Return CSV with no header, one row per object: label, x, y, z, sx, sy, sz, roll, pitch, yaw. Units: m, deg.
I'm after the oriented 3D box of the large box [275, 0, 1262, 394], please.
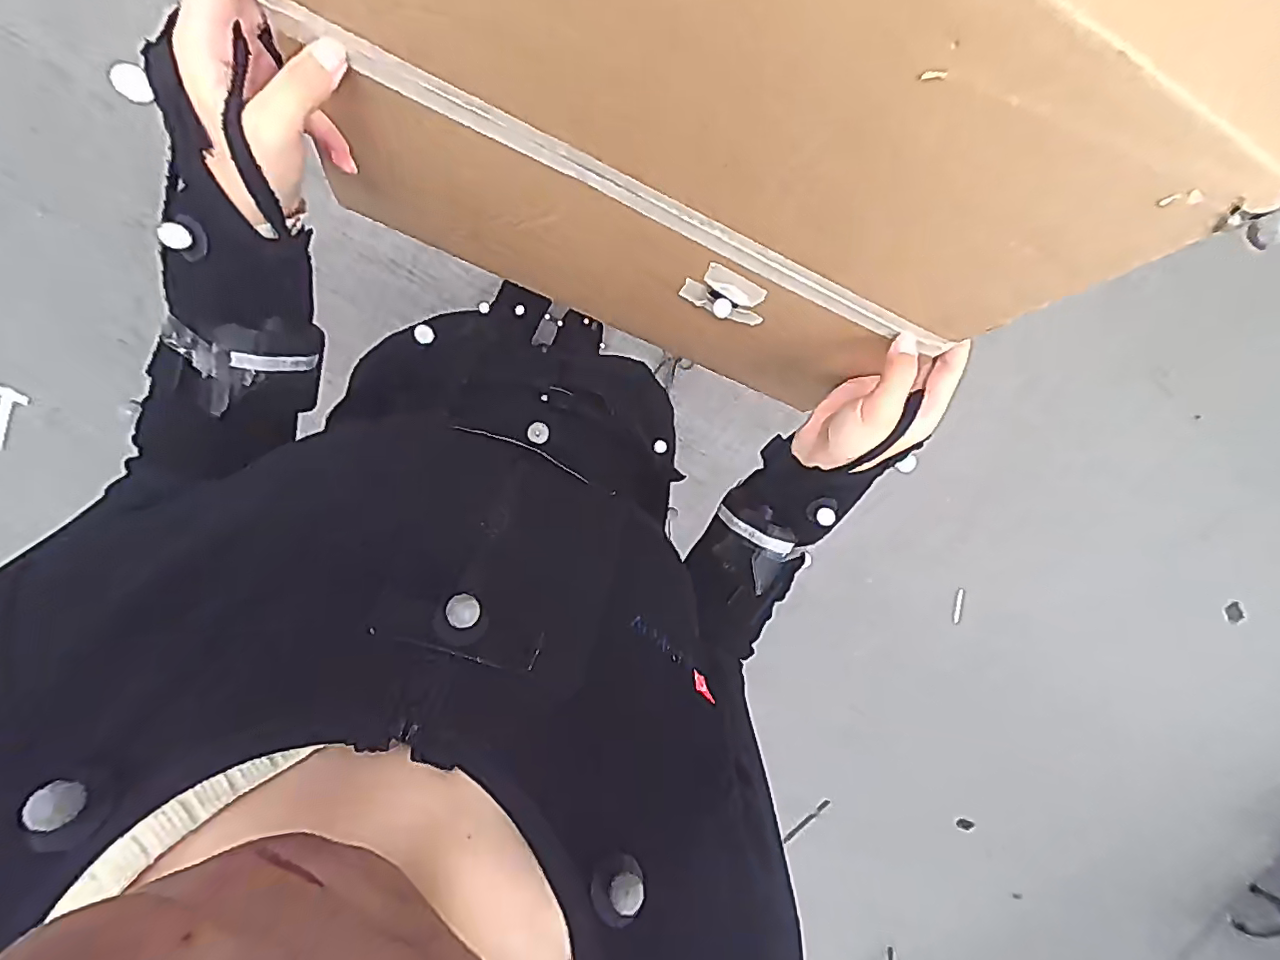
large box,0.048,-0.301,0.333,0.408,0.320,0.320,19,78,-14
